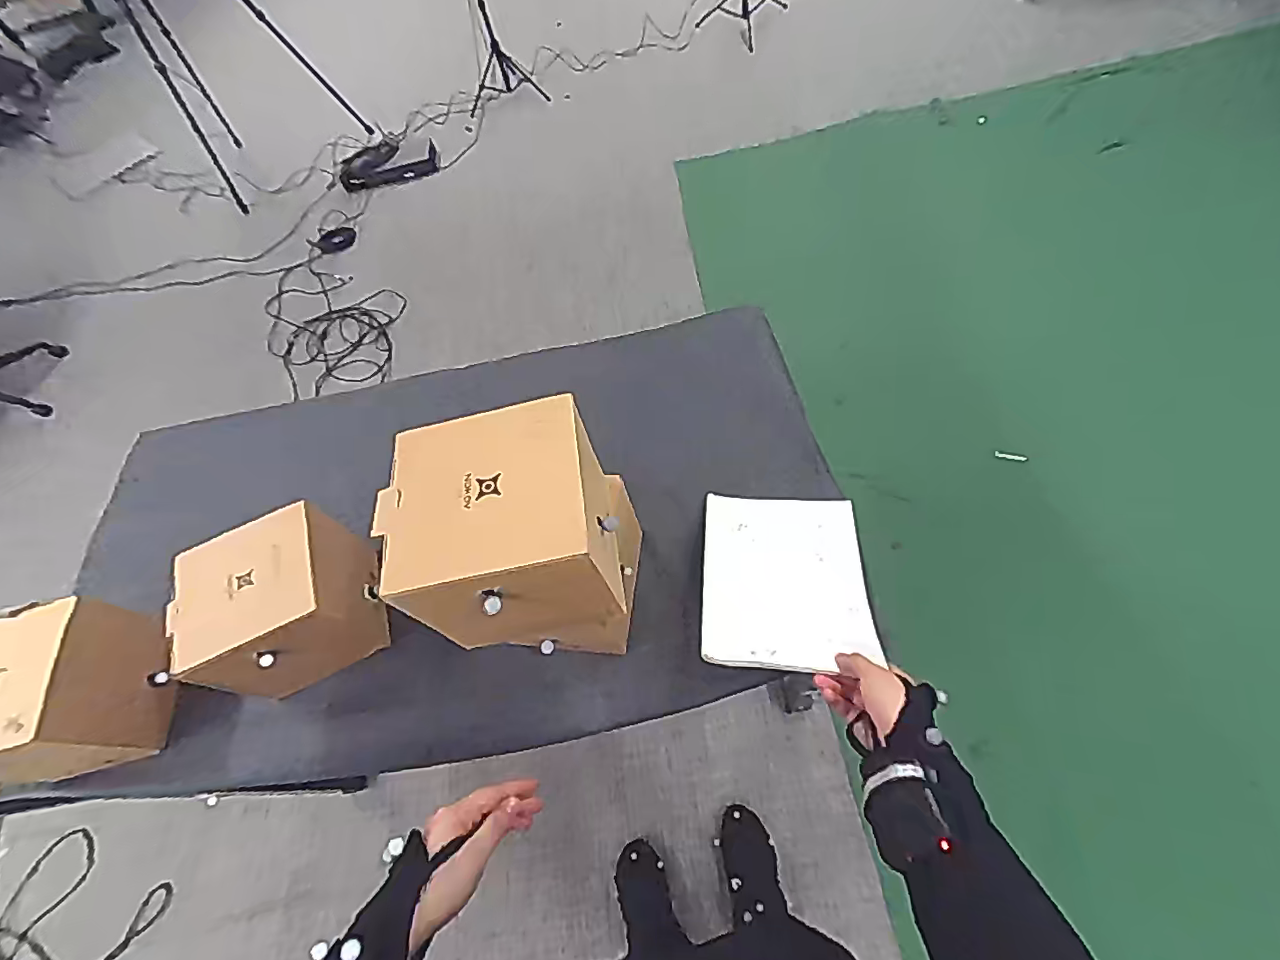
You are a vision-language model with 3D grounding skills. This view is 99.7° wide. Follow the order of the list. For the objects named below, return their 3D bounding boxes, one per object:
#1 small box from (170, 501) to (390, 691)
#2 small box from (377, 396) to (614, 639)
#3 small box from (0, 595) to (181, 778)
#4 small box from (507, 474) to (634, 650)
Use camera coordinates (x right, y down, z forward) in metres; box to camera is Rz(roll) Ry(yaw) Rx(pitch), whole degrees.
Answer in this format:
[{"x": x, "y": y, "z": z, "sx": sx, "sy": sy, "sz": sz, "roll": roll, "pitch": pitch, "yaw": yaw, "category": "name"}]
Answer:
[{"x": -0.473, "y": 0.164, "z": 0.728, "sx": 0.179, "sy": 0.176, "sz": 0.168, "roll": -25, "pitch": 60, "yaw": -5, "category": "small box"}, {"x": -0.128, "y": 0.046, "z": 0.539, "sx": 0.179, "sy": 0.176, "sz": 0.168, "roll": -13, "pitch": 59, "yaw": 4, "category": "small box"}, {"x": -0.754, "y": 0.277, "z": 0.713, "sx": 0.168, "sy": 0.176, "sz": 0.179, "roll": -16, "pitch": 59, "yaw": 1, "category": "small box"}, {"x": -0.107, "y": 0.105, "z": 0.692, "sx": 0.168, "sy": 0.176, "sz": 0.179, "roll": 1, "pitch": 61, "yaw": 12, "category": "small box"}]
